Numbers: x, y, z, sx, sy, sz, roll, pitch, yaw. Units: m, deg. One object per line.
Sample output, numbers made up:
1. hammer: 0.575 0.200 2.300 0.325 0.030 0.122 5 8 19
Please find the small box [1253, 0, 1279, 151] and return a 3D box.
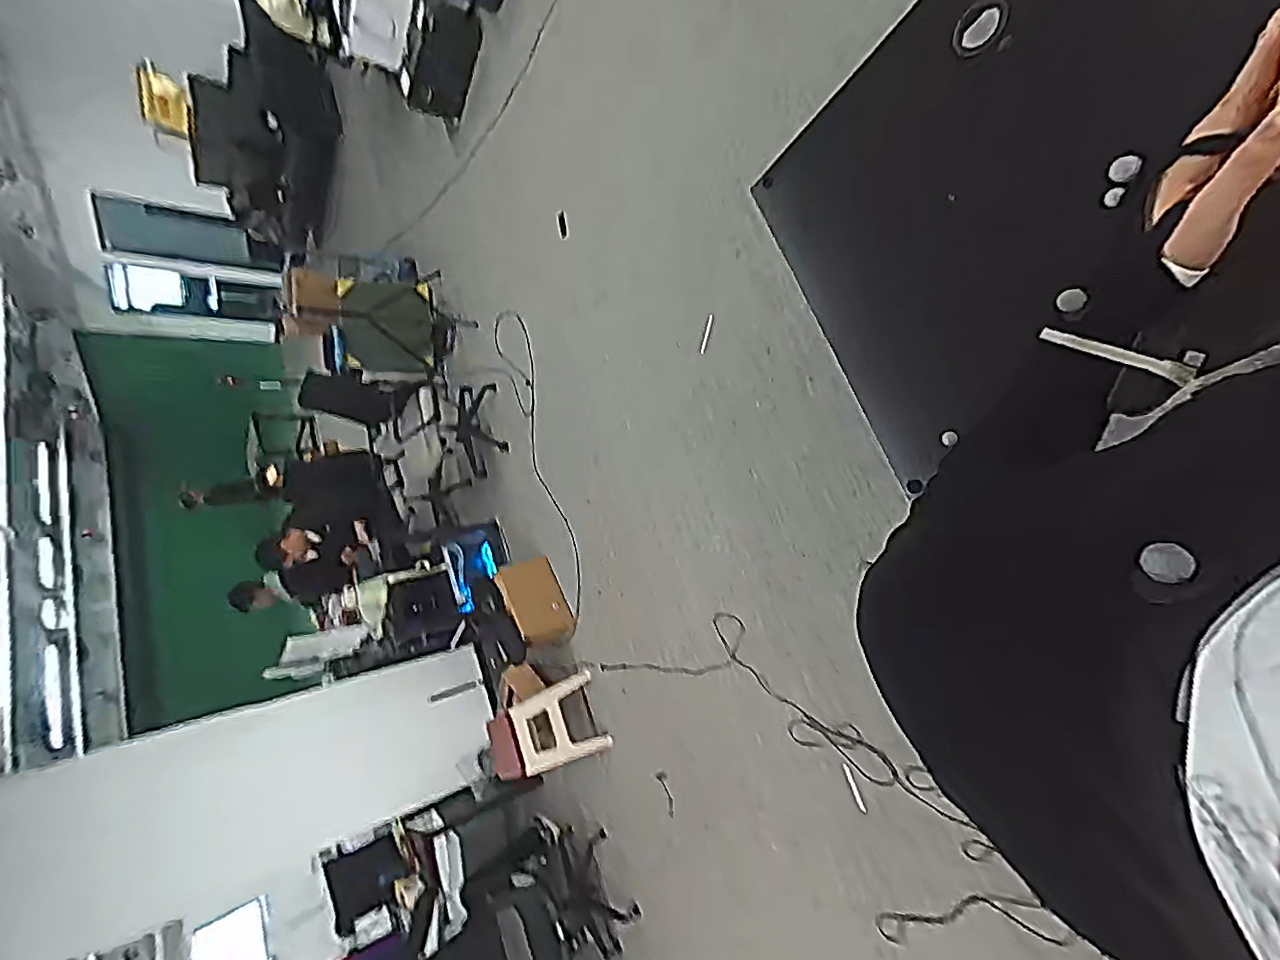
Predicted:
1. small box: 0.448 -0.283 0.268 0.168 0.176 0.179 10 110 49
